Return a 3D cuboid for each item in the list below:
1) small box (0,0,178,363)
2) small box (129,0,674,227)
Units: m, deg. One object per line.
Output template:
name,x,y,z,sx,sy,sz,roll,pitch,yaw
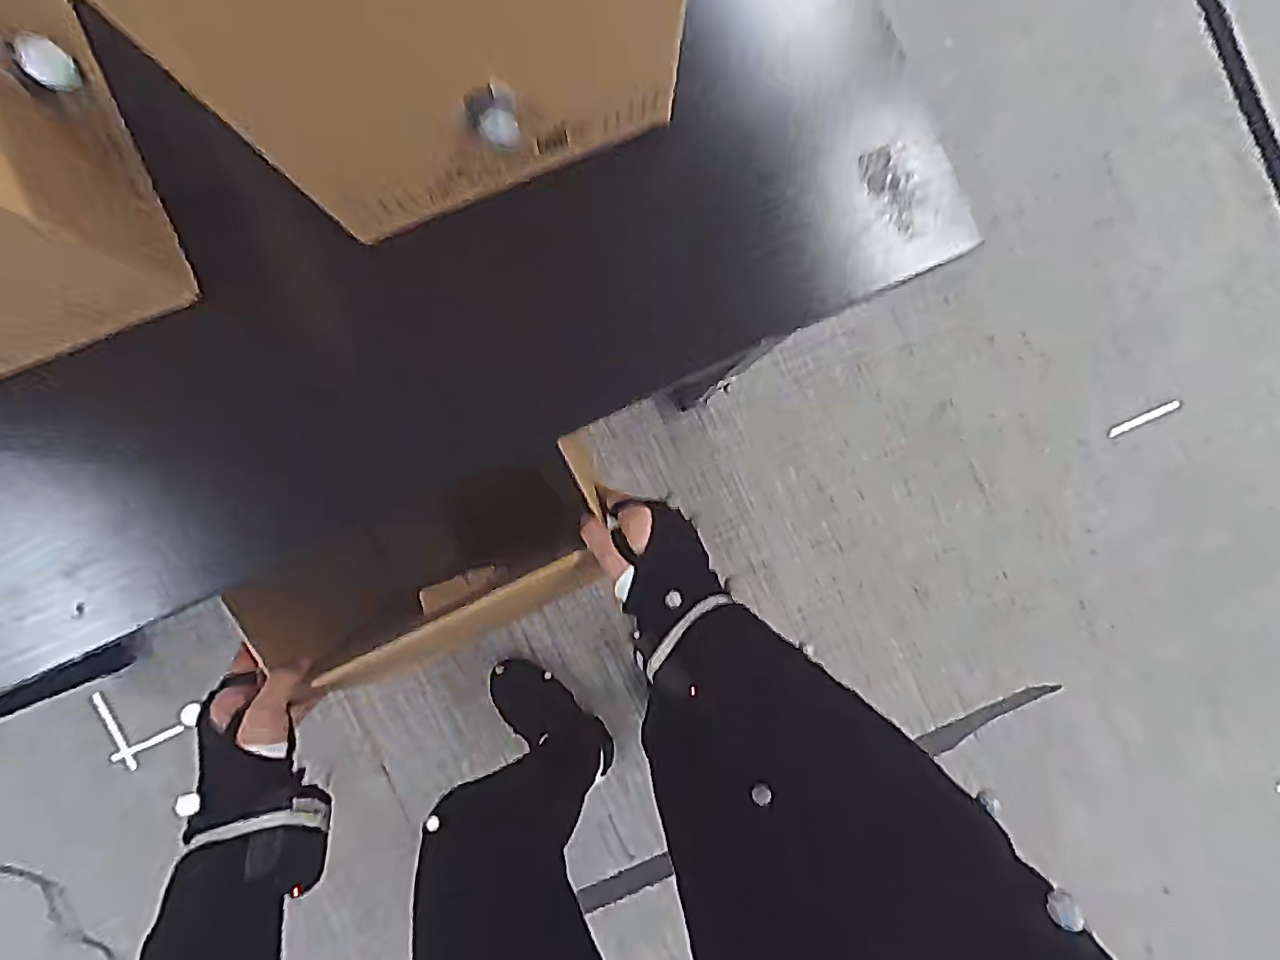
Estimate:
small box,-0.318,-0.127,0.170,0.179,0.176,0.168,-23,92,-3
small box,-0.092,-0.224,0.178,0.168,0.176,0.179,-23,92,-1
